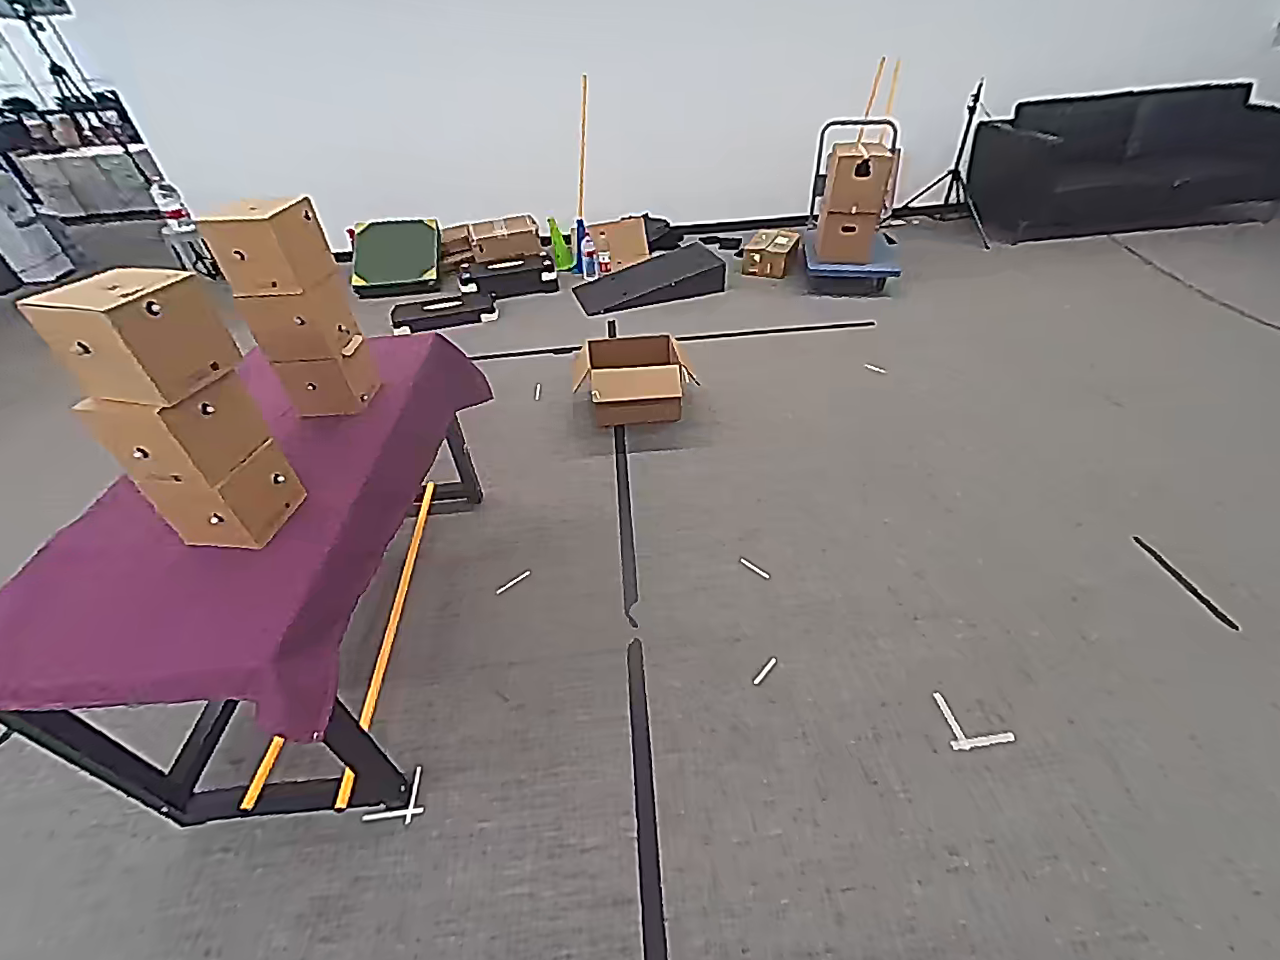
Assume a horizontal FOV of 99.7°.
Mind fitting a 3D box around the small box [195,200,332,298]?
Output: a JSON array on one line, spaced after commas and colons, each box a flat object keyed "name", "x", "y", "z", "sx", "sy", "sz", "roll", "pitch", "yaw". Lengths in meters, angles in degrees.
[{"name": "small box", "x": -0.850, "y": -0.529, "z": 1.247, "sx": 0.168, "sy": 0.176, "sz": 0.179, "roll": -1, "pitch": 41, "yaw": 3}]

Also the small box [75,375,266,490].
[{"name": "small box", "x": -0.850, "y": -0.099, "z": 1.006, "sx": 0.168, "sy": 0.176, "sz": 0.179, "roll": 4, "pitch": 41, "yaw": 7}]

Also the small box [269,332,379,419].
[{"name": "small box", "x": -0.837, "y": -0.280, "z": 1.457, "sx": 0.179, "sy": 0.176, "sz": 0.168, "roll": -4, "pitch": 41, "yaw": 2}]

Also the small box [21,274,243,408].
[{"name": "small box", "x": -0.837, "y": -0.235, "z": 0.912, "sx": 0.179, "sy": 0.176, "sz": 0.168, "roll": 6, "pitch": 41, "yaw": 12}]

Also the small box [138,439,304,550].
[{"name": "small box", "x": -0.840, "y": 0.028, "z": 1.109, "sx": 0.179, "sy": 0.176, "sz": 0.168, "roll": 2, "pitch": 41, "yaw": 7}]
